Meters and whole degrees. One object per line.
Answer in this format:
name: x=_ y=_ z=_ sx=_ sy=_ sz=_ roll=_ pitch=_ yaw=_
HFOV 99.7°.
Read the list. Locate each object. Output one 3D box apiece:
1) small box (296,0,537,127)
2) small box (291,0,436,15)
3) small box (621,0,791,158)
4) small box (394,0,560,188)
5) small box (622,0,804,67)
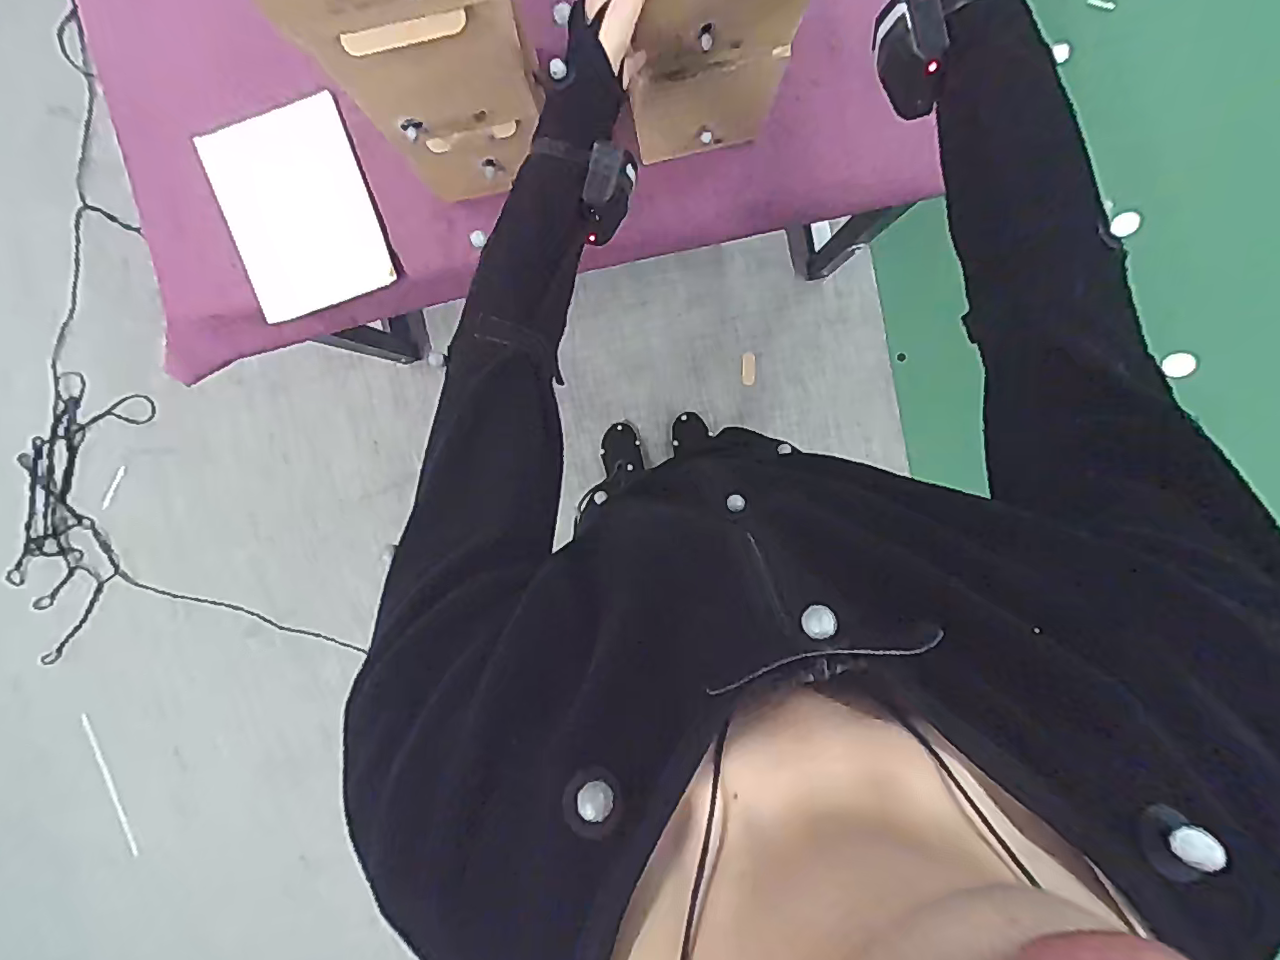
small box: x=-0.203 y=-0.462 z=0.500 sx=0.168 sy=0.176 sz=0.179 roll=-11 pitch=94 yaw=2
small box: x=-0.204 y=-0.442 z=0.339 sx=0.168 sy=0.176 sz=0.179 roll=-10 pitch=95 yaw=1
small box: x=0.069 y=-0.532 z=0.654 sx=0.168 sy=0.176 sz=0.179 roll=-11 pitch=95 yaw=3
small box: x=-0.202 y=-0.485 z=0.664 sx=0.168 sy=0.176 sz=0.179 roll=-11 pitch=96 yaw=1
small box: x=0.060 y=-0.507 z=0.466 sx=0.168 sy=0.176 sz=0.179 roll=-10 pitch=105 yaw=0
